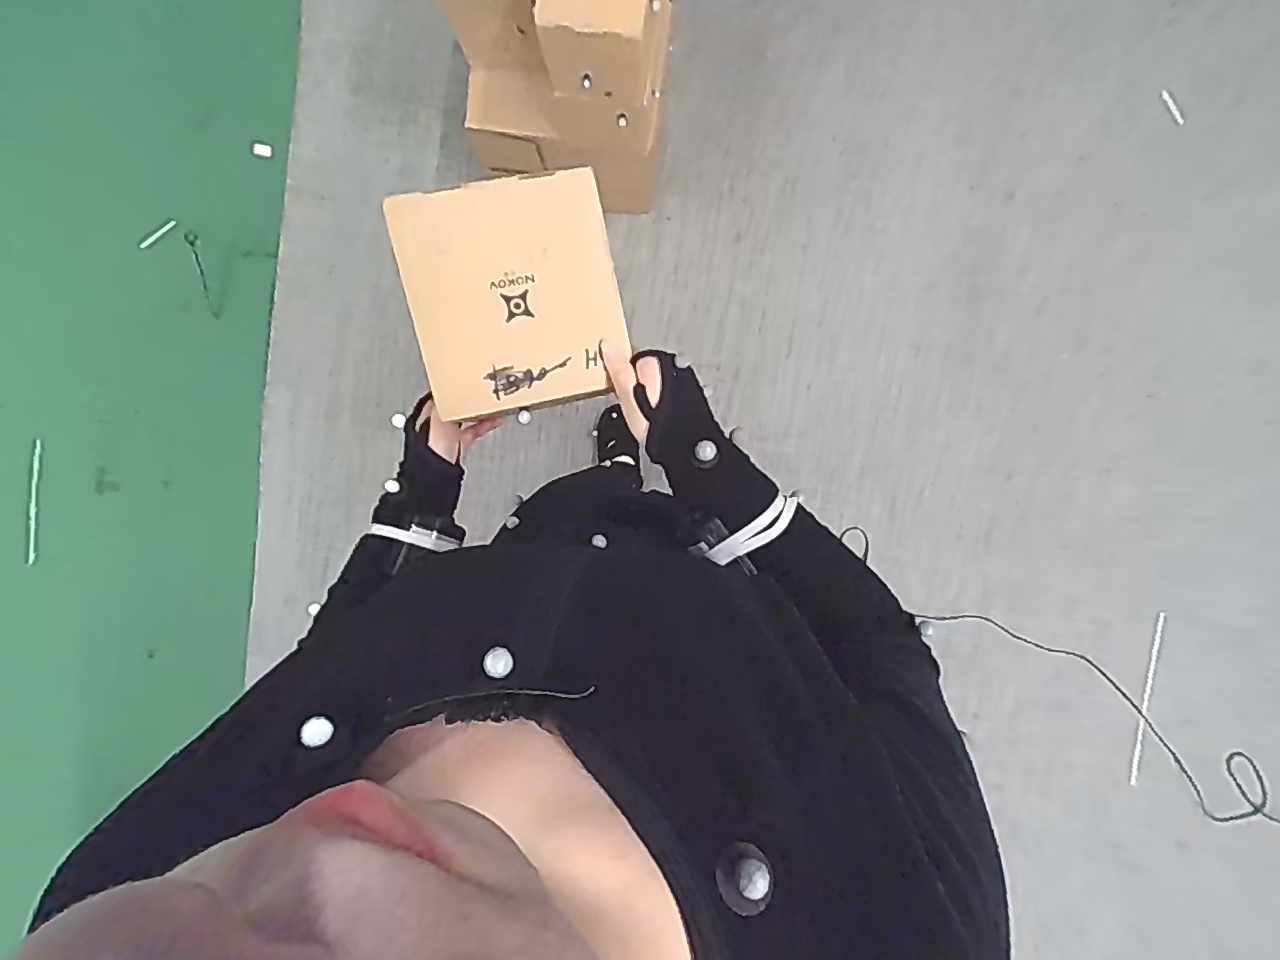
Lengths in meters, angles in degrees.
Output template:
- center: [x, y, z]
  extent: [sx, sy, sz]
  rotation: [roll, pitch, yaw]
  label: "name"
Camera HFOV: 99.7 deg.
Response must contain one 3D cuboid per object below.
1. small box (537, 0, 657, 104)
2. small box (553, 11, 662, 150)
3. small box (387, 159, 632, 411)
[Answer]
- center: [-0.062, -0.768, 0.885]
  extent: [0.168, 0.176, 0.179]
  rotation: [9, 94, 0]
  label: "small box"
- center: [-0.058, -0.773, 1.048]
  extent: [0.179, 0.176, 0.168]
  rotation: [9, 93, 1]
  label: "small box"
- center: [-0.114, -0.166, 0.509]
  extent: [0.168, 0.176, 0.179]
  rotation: [-12, 98, -8]
  label: "small box"
